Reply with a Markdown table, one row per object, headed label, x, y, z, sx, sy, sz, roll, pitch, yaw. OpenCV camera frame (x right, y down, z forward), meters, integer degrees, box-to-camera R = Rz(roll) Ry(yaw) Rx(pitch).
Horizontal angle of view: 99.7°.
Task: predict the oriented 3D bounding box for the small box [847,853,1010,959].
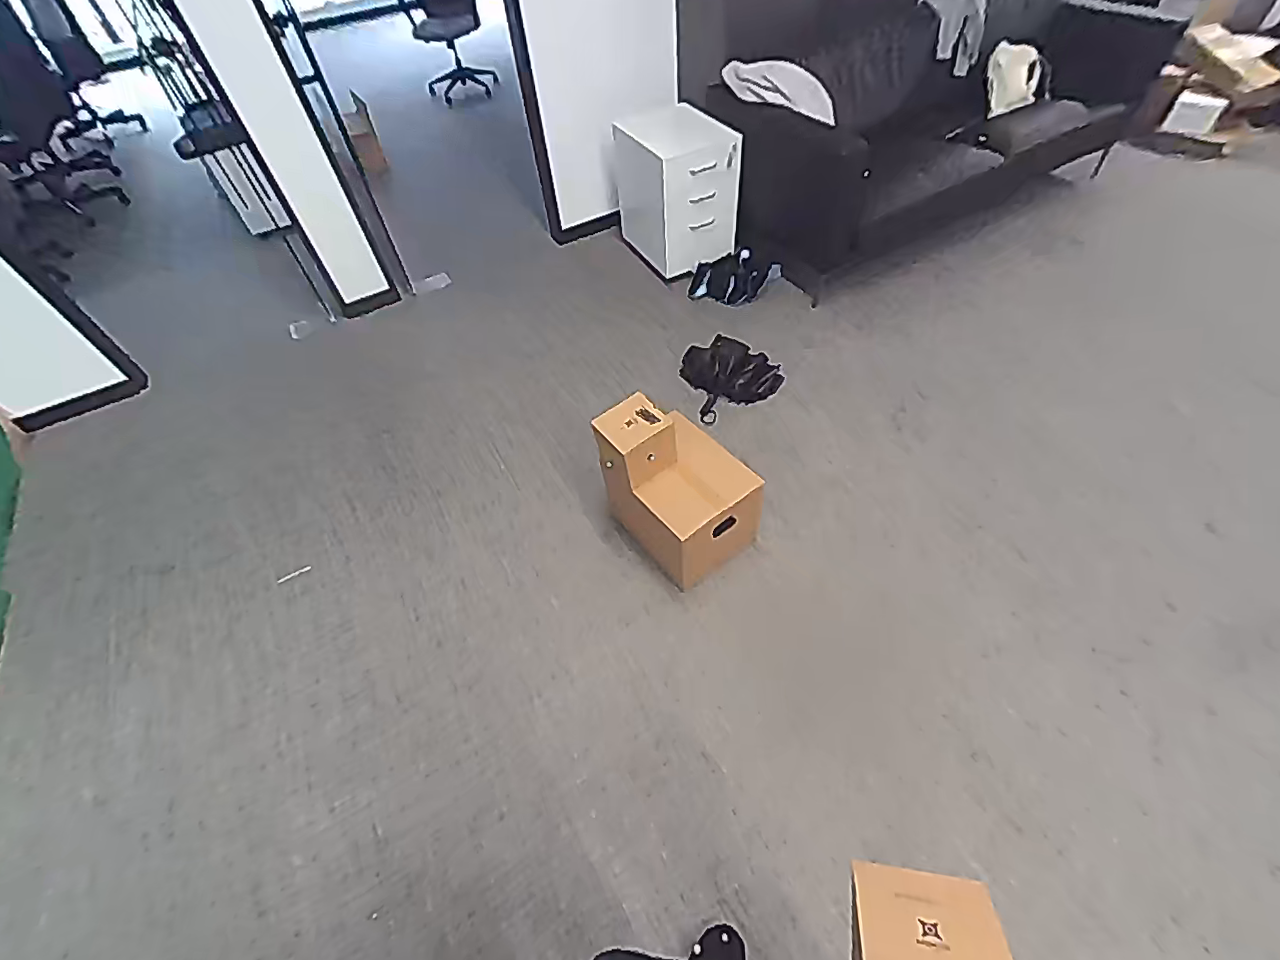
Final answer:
| label | x | y | z | sx | sy | sz | roll | pitch | yaw |
| --- | --- | --- | --- | --- | --- | --- | --- | --- | --- |
| small box | 0.351 | 0.616 | 0.668 | 0.168 | 0.176 | 0.179 | 0 | 10 | 16 |

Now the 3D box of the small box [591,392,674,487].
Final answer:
| label | x | y | z | sx | sy | sz | roll | pitch | yaw |
| --- | --- | --- | --- | --- | --- | --- | --- | --- | --- |
| small box | -0.015 | -0.115 | 1.567 | 0.179 | 0.176 | 0.168 | -34 | 56 | -15 |
